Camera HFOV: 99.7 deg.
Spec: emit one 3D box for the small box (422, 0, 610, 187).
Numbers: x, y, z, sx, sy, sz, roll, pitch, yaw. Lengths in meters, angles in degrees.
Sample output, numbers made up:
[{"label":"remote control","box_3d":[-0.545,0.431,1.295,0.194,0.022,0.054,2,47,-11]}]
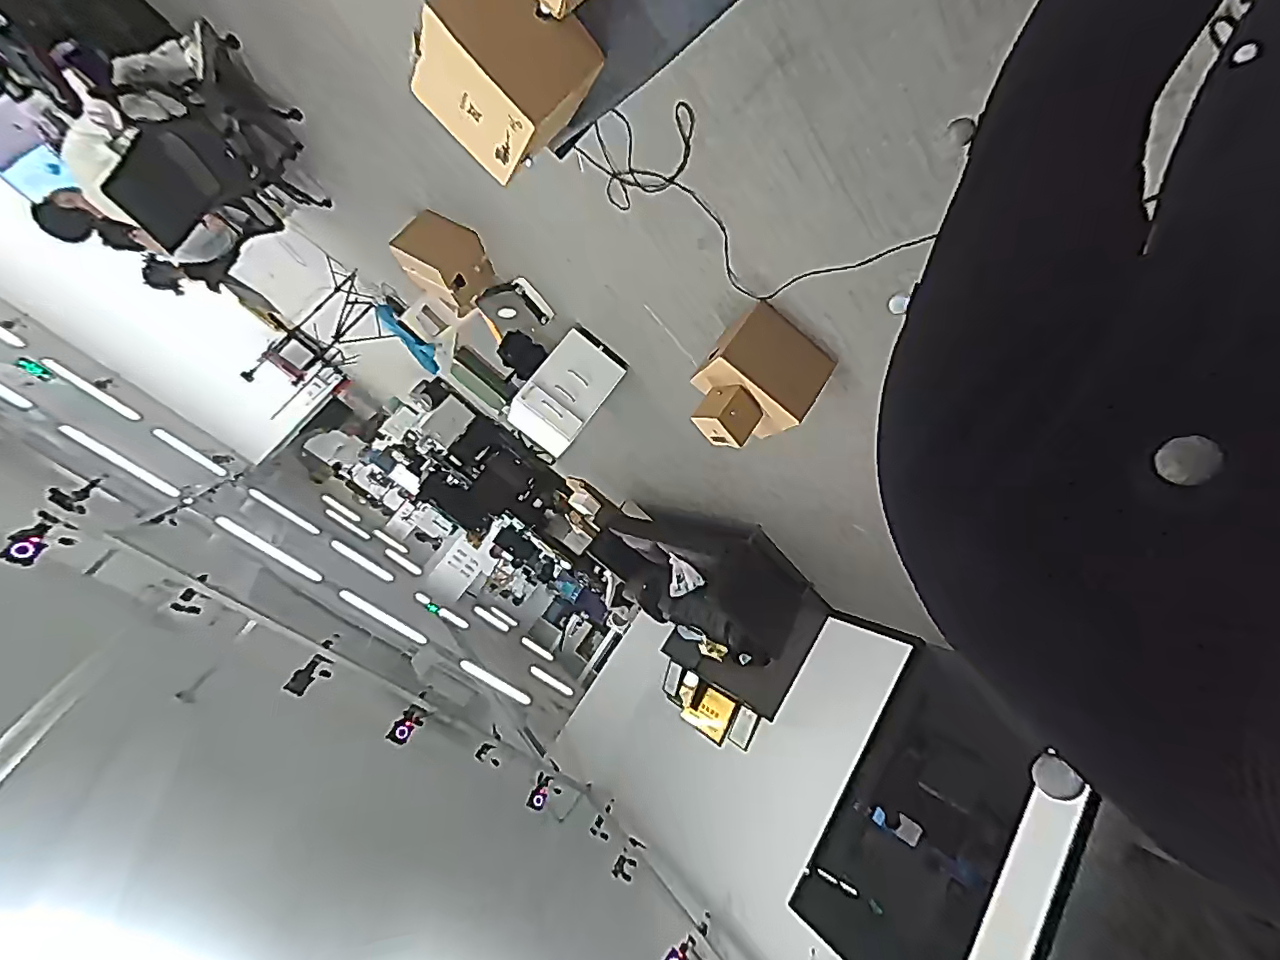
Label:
[{"label":"small box","box_3d":[-0.178,-0.576,0.774,0.179,0.176,0.168,43,162,-21]}]
